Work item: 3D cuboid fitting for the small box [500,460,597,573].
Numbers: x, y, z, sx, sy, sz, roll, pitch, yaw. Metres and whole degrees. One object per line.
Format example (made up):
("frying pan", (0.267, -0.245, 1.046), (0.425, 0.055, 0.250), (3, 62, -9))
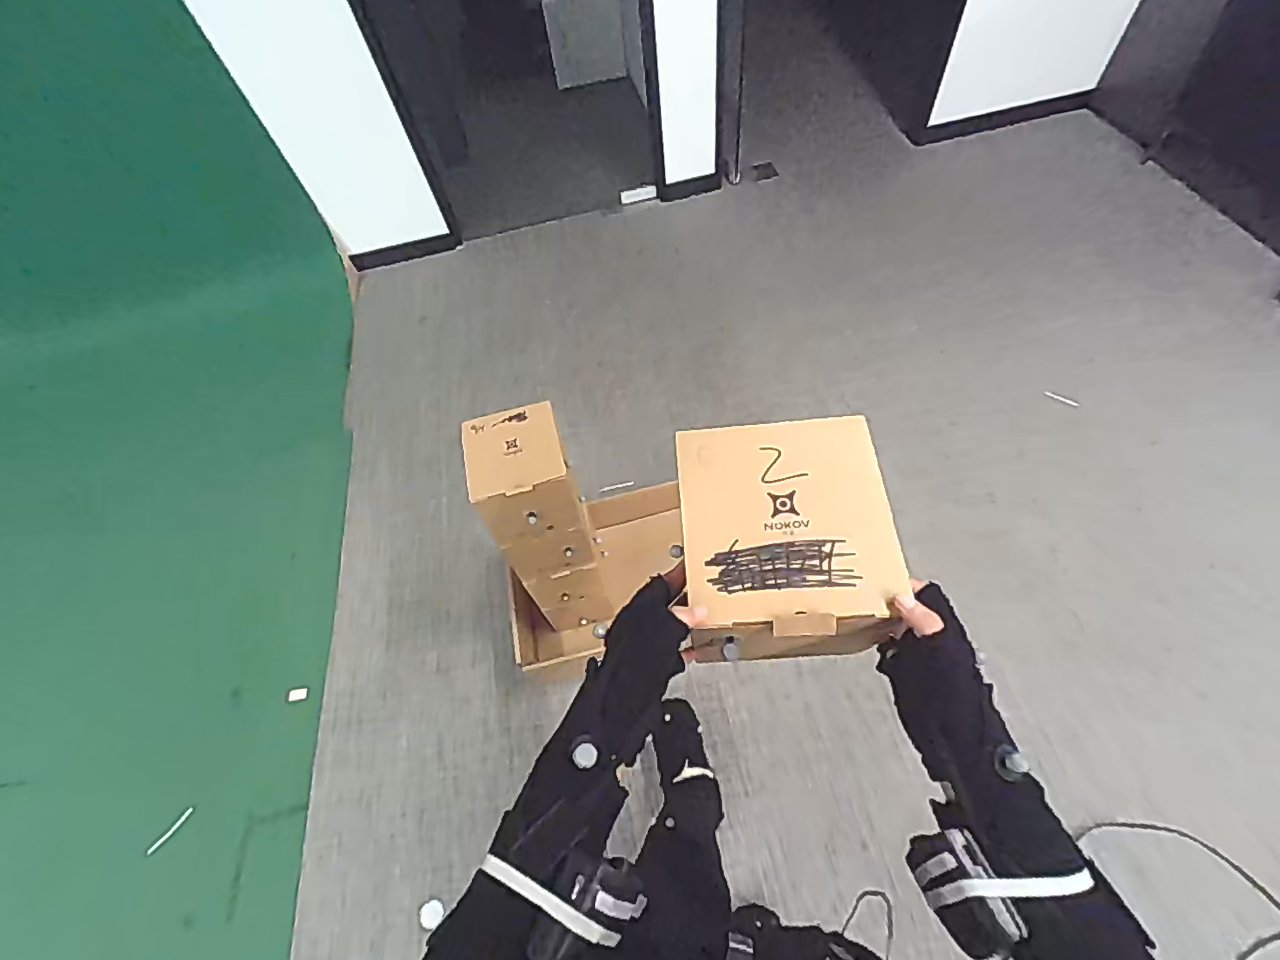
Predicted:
("small box", (-0.192, 0.078, 1.120), (0.168, 0.176, 0.179), (-14, 57, -4))

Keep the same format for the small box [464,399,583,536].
("small box", (-0.207, -0.013, 0.984), (0.168, 0.176, 0.179), (-14, 58, -4))

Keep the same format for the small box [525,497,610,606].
("small box", (-0.173, 0.170, 1.254), (0.168, 0.176, 0.179), (-13, 57, -2))

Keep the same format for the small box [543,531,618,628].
("small box", (-0.157, 0.258, 1.390), (0.168, 0.176, 0.179), (-13, 57, -1))
